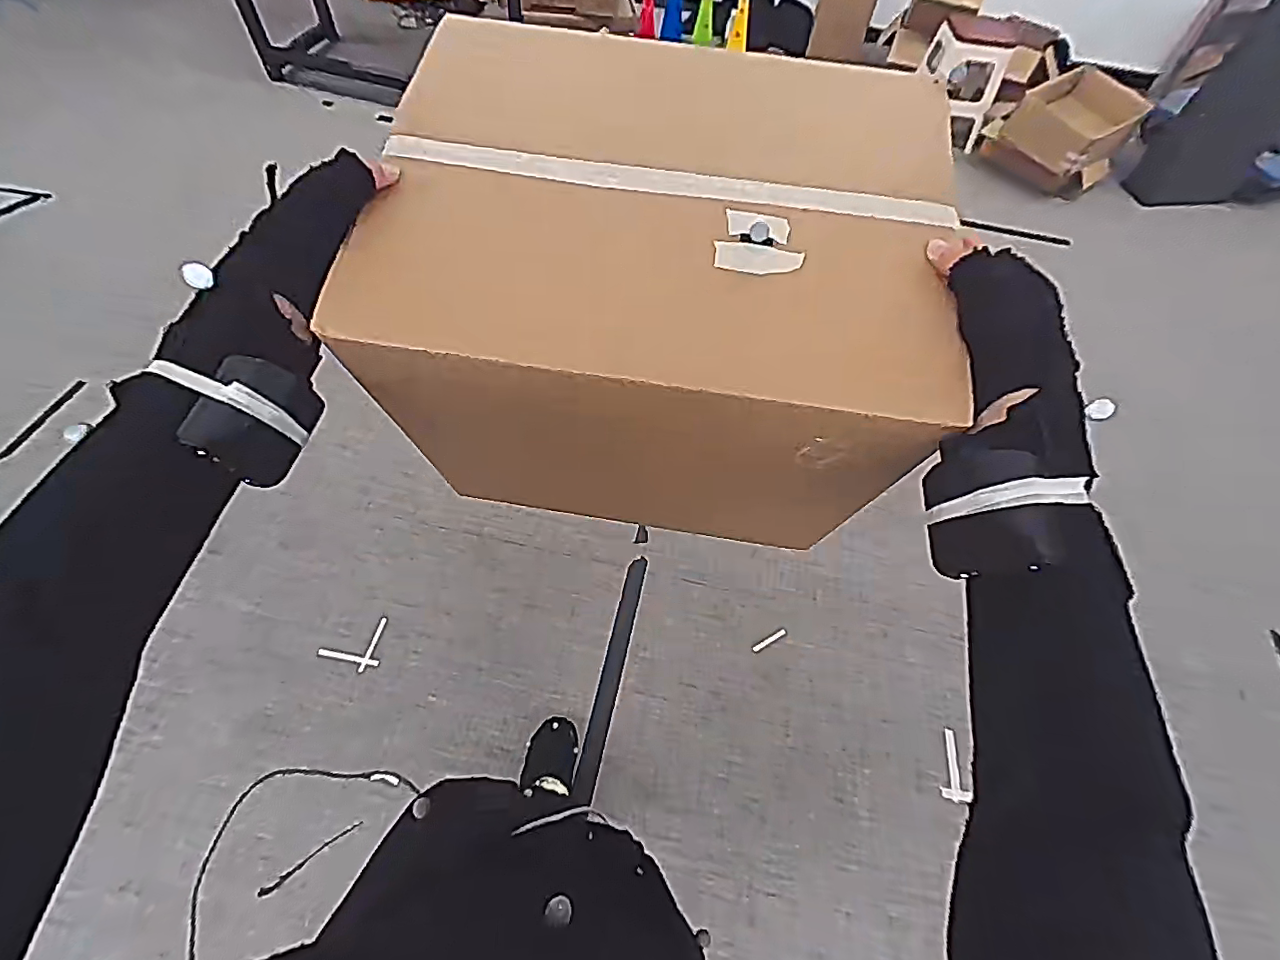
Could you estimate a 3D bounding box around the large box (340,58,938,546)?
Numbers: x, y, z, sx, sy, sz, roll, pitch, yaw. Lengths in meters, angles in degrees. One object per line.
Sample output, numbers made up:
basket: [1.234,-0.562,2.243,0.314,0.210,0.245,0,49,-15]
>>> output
large box: [0.010,-0.142,0.543,0.408,0.320,0.320,9,70,1]
